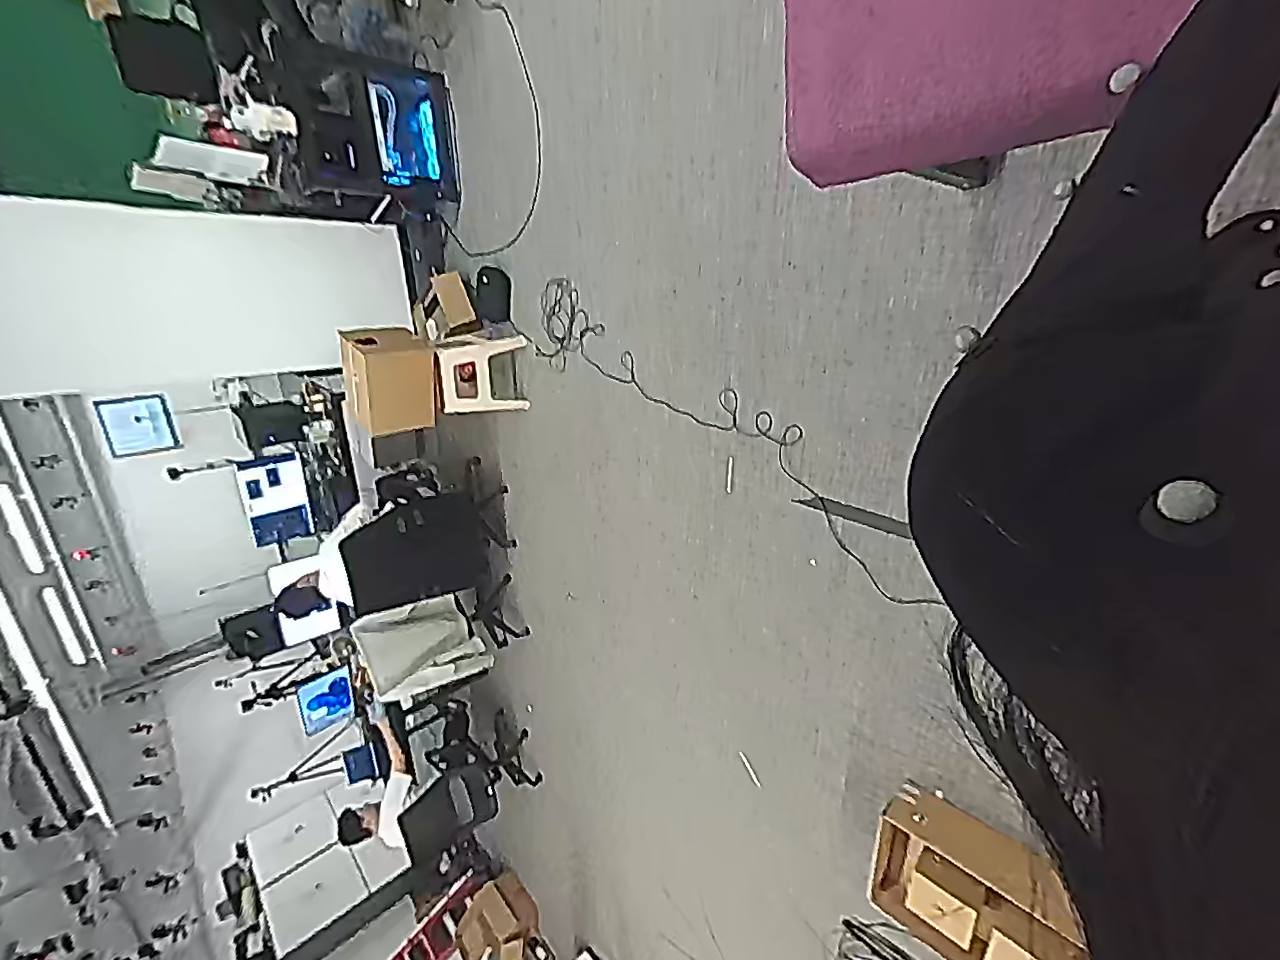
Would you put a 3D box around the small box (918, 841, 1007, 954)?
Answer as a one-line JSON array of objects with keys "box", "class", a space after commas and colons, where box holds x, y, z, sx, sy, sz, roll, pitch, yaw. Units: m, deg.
[{"box": [0.954, 1.221, 1.602, 0.179, 0.176, 0.168, 16, 117, 43], "class": "small box"}]
